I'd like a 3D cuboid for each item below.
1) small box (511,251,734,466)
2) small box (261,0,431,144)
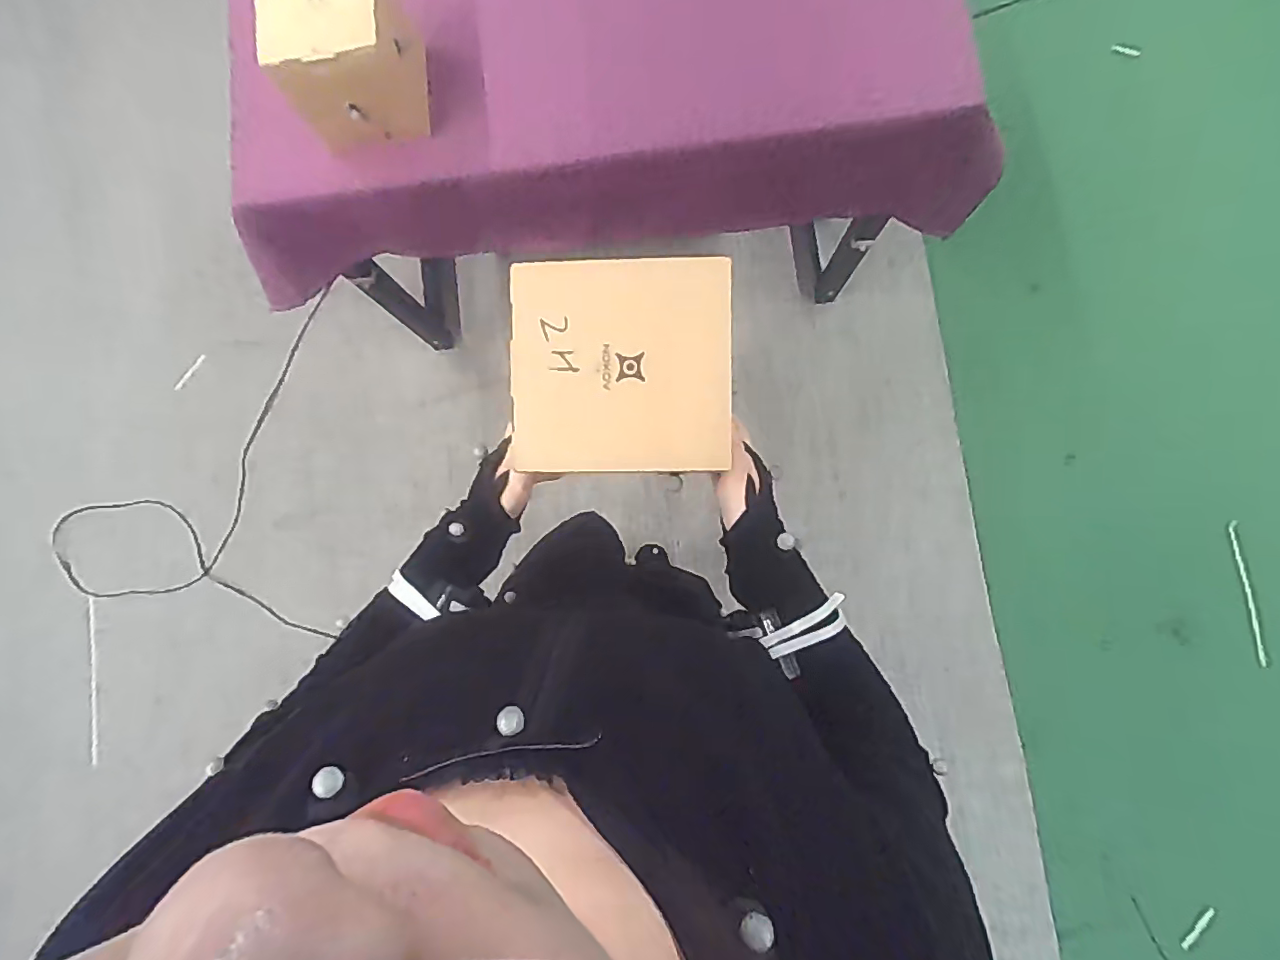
[{"bbox_3d":[-0.010,-0.098,0.501,0.179,0.176,0.168,0,91,5],"label":"small box"},{"bbox_3d":[-0.427,-0.637,0.809,0.168,0.176,0.179,-6,84,2],"label":"small box"}]
